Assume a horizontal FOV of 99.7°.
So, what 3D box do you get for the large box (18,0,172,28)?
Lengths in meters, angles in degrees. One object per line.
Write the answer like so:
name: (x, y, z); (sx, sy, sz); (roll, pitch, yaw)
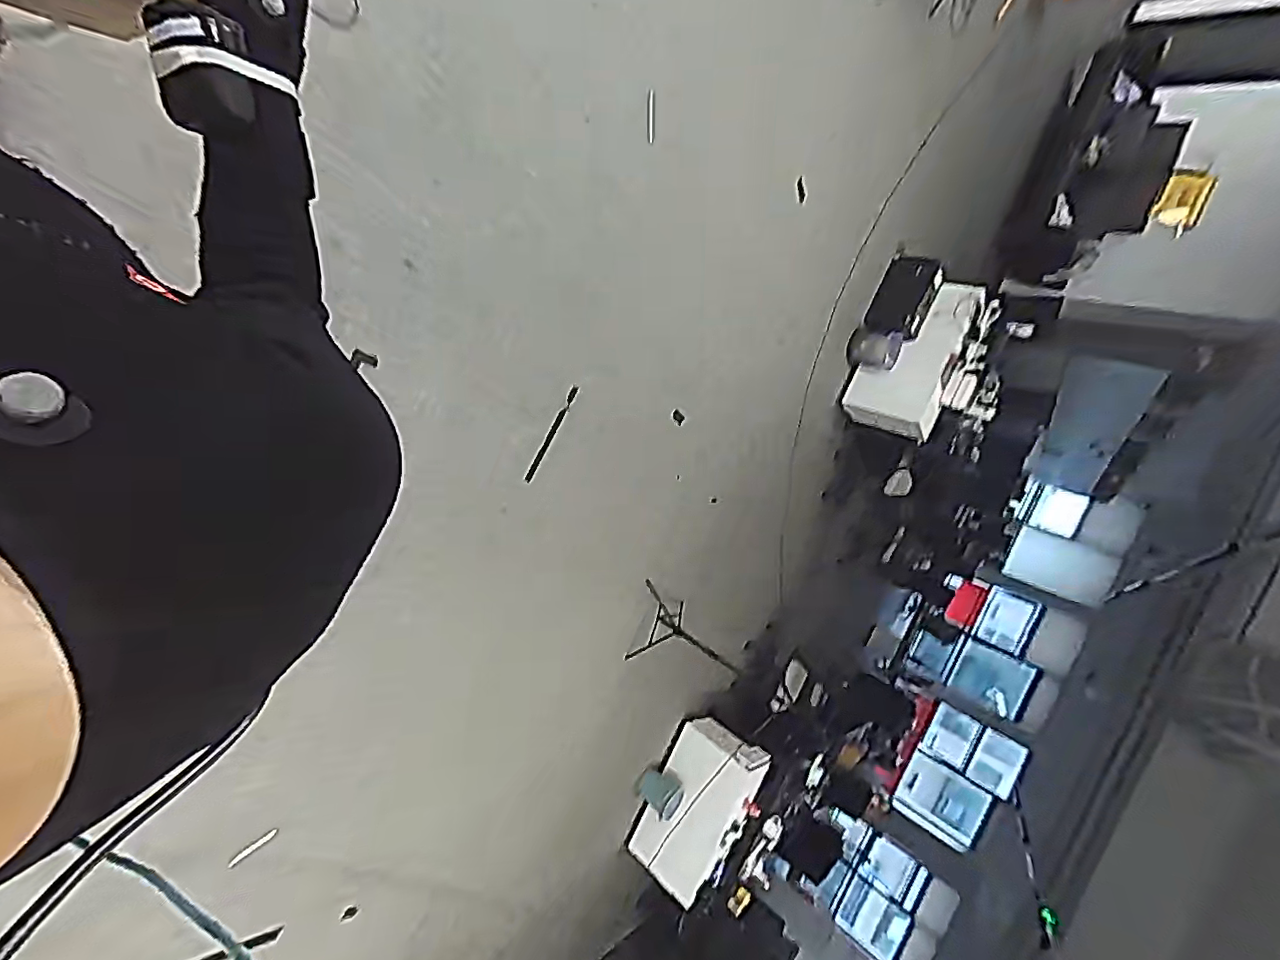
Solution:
large box: (-0.523, -0.496, 0.261); (0.408, 0.320, 0.320); (-16, 126, -47)
